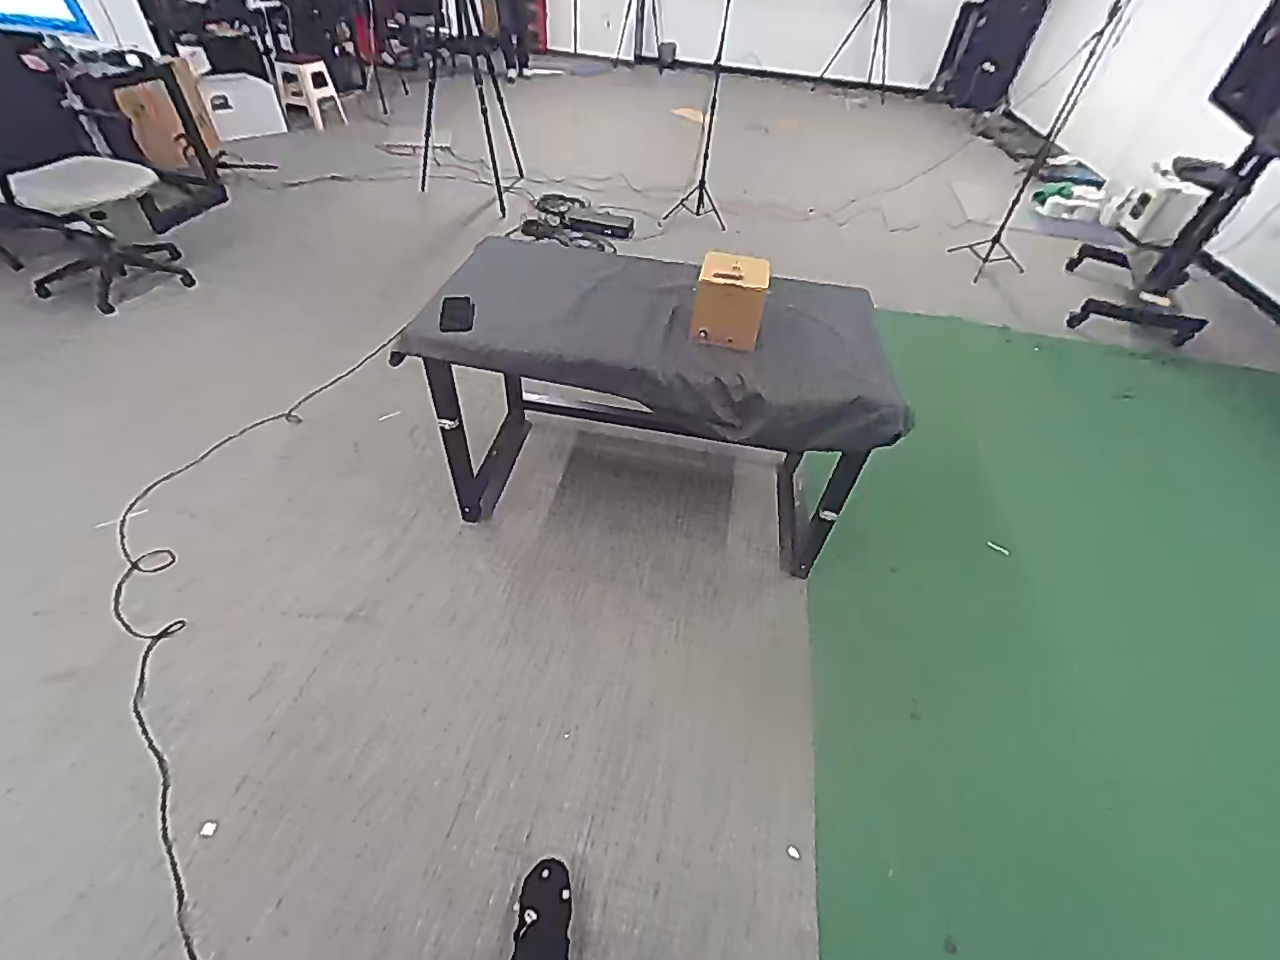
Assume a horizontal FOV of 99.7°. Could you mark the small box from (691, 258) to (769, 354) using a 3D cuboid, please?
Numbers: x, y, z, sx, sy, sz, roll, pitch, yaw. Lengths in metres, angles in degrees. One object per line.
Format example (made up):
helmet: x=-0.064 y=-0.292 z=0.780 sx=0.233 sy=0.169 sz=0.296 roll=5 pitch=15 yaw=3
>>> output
small box: x=0.229 y=-0.446 z=1.390 sx=0.168 sy=0.176 sz=0.179 roll=11 pitch=44 yaw=4
